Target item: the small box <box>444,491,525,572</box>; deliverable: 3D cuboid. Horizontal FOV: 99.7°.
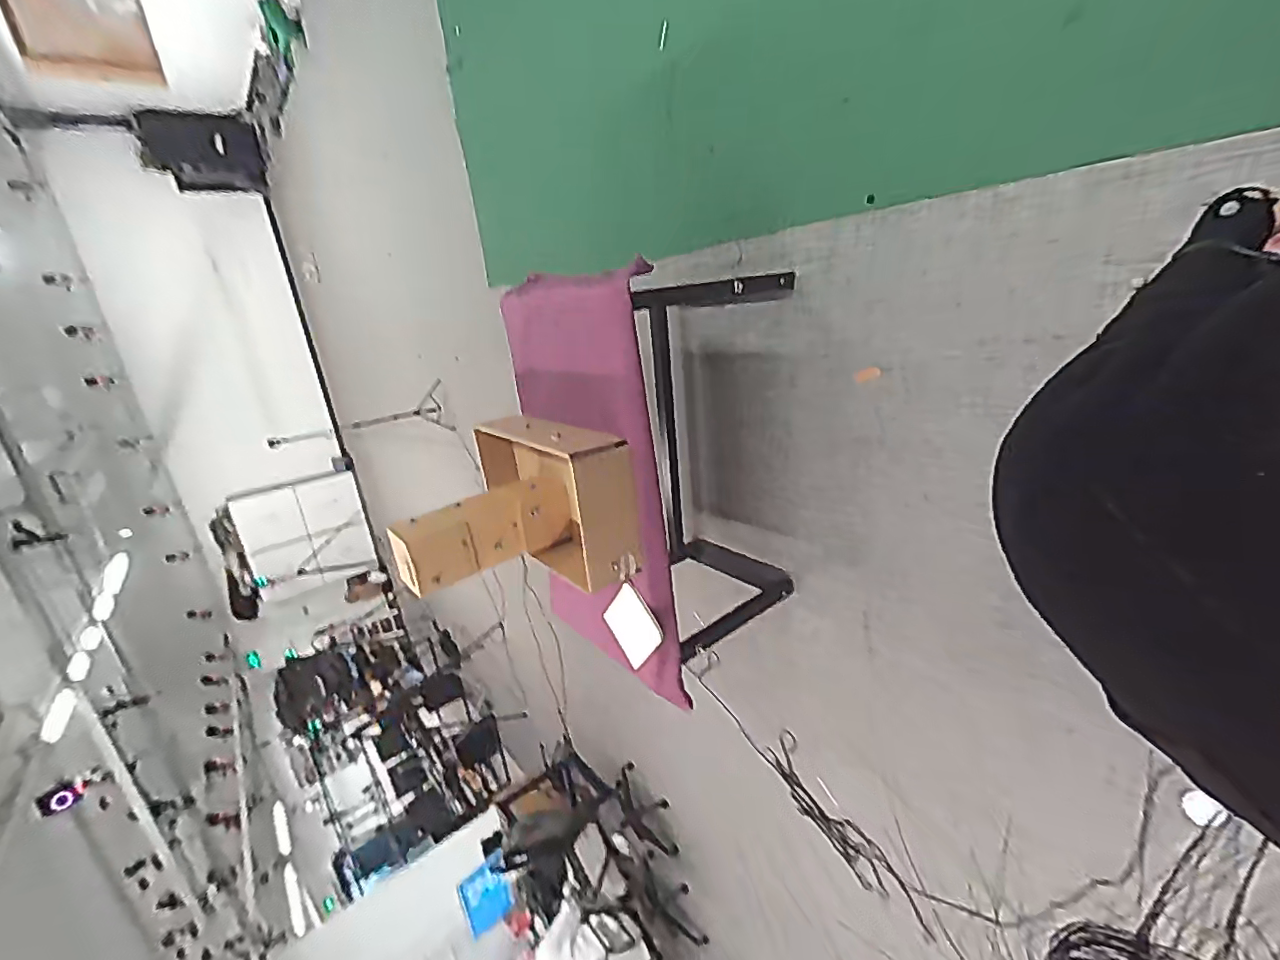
[{"bbox_3d":[-0.456,0.146,1.615,0.179,0.176,0.168,19,121,47],"label":"small box"}]
